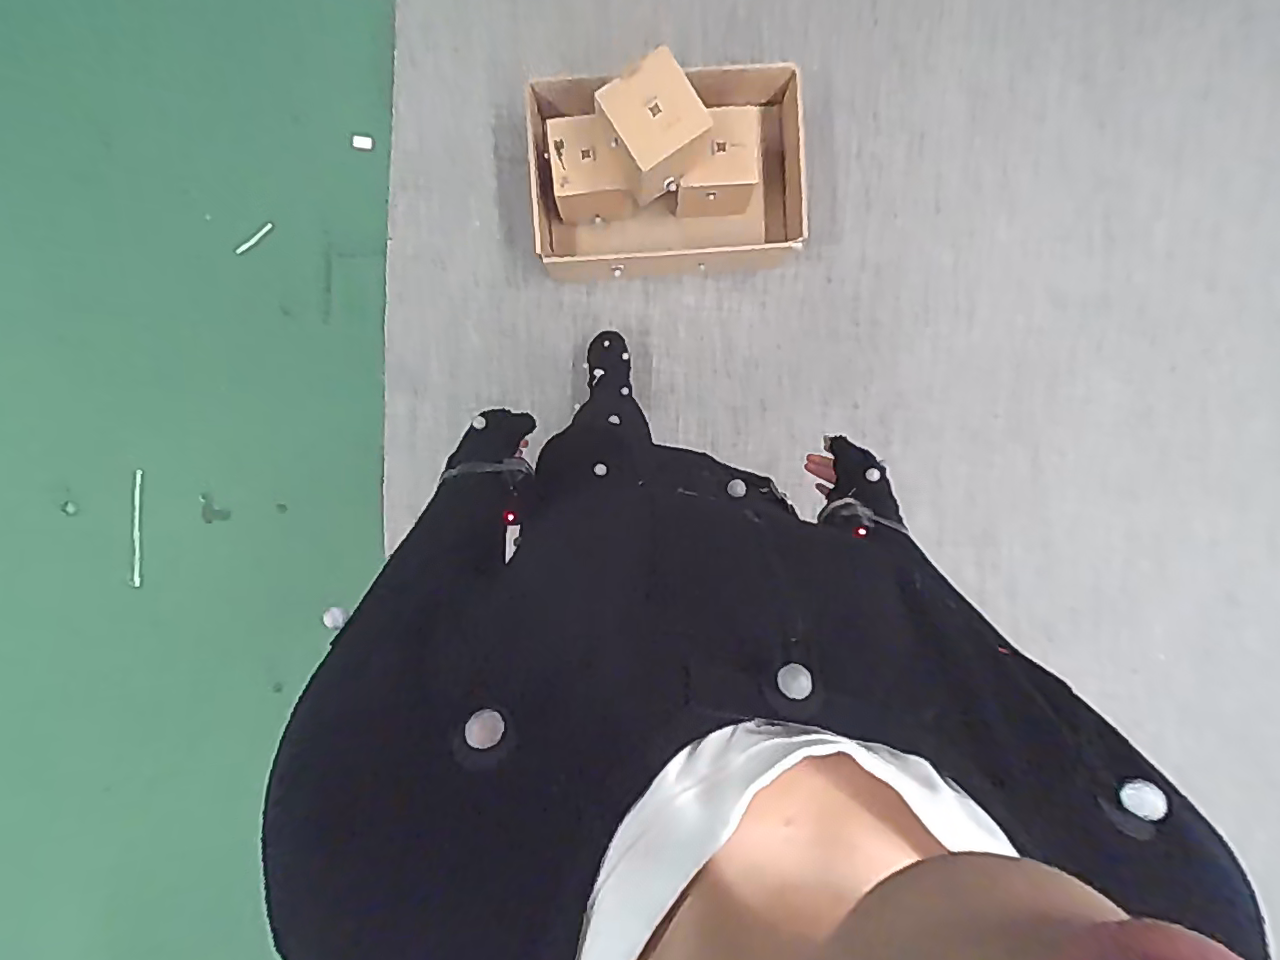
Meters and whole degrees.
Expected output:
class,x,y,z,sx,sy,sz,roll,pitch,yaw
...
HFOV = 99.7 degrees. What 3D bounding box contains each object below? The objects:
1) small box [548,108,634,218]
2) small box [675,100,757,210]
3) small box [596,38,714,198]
class,x,y,z,sx,sy,sz,roll,pitch,yaw
small box,-0.111,-0.732,1.261,0.179,0.176,0.168,-6,94,-2
small box,0.170,-0.748,1.261,0.179,0.176,0.168,-2,95,1
small box,0.027,-0.723,1.102,0.168,0.176,0.179,-34,96,3
